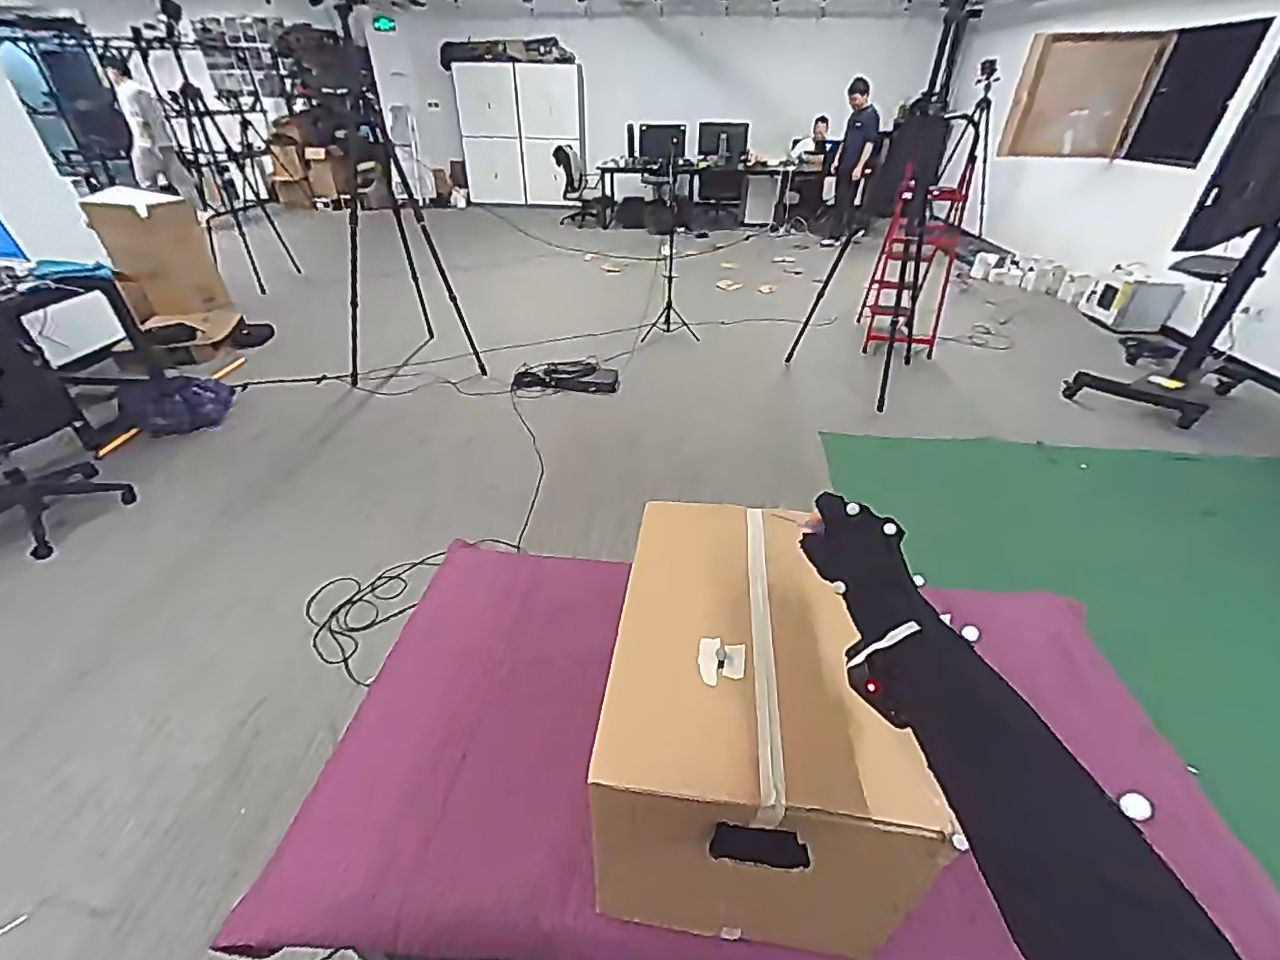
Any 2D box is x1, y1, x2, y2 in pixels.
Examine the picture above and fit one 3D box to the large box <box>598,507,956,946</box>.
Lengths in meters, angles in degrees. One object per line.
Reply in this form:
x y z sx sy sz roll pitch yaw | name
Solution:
0.132 0.288 0.707 0.320 0.320 0.408 5 36 6 | large box
